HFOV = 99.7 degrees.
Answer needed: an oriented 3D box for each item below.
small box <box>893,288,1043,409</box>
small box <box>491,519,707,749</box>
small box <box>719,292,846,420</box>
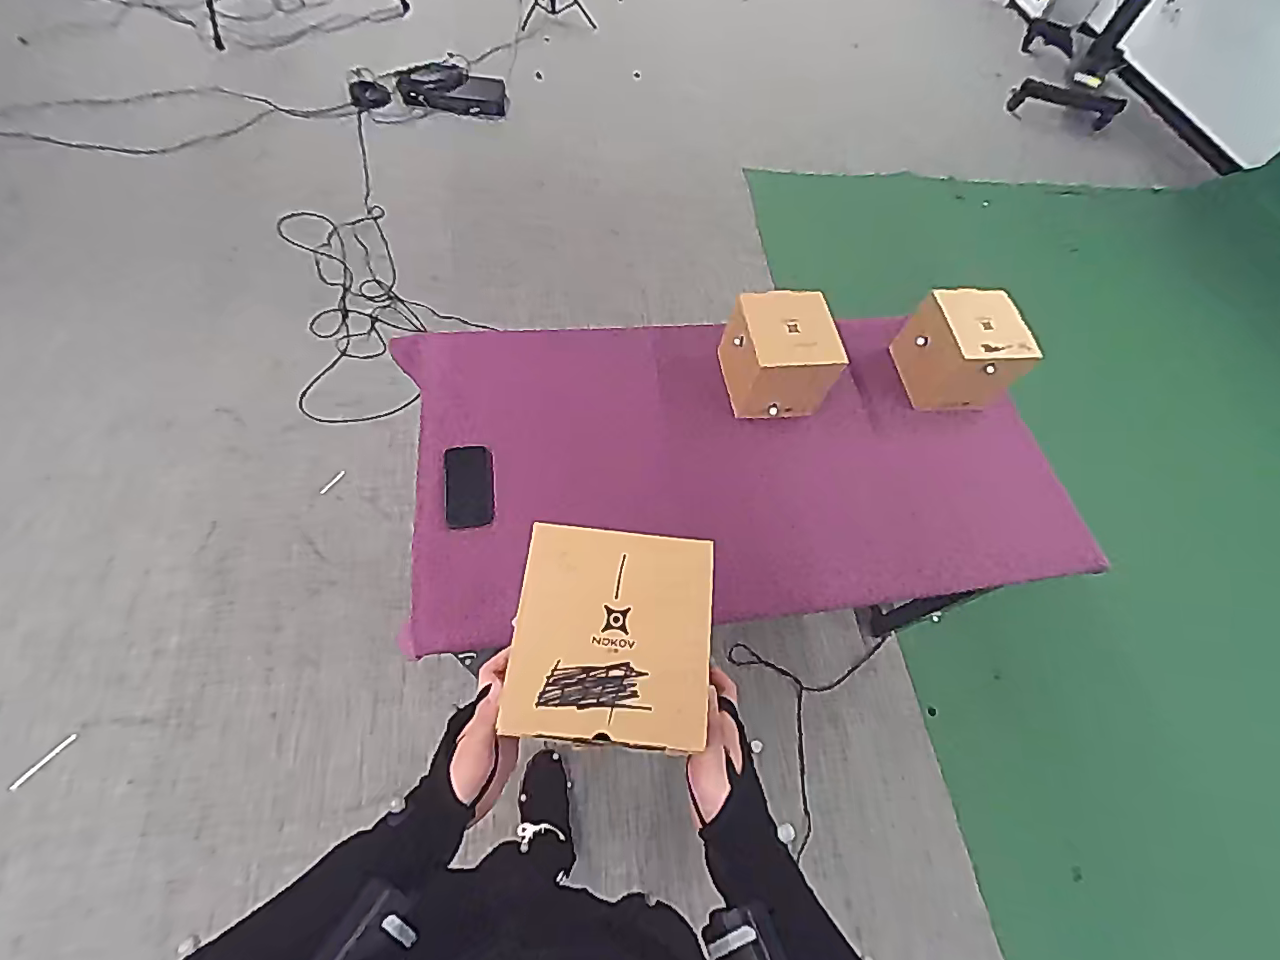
[{"bbox_3d":[0.645,-0.264,1.093,0.168,0.176,0.179,-4,62,-7],"label":"small box"},{"bbox_3d":[-0.031,0.154,0.527,0.168,0.176,0.179,6,66,0],"label":"small box"},{"bbox_3d":[0.260,-0.236,1.036,0.168,0.176,0.179,-5,63,-8],"label":"small box"}]
